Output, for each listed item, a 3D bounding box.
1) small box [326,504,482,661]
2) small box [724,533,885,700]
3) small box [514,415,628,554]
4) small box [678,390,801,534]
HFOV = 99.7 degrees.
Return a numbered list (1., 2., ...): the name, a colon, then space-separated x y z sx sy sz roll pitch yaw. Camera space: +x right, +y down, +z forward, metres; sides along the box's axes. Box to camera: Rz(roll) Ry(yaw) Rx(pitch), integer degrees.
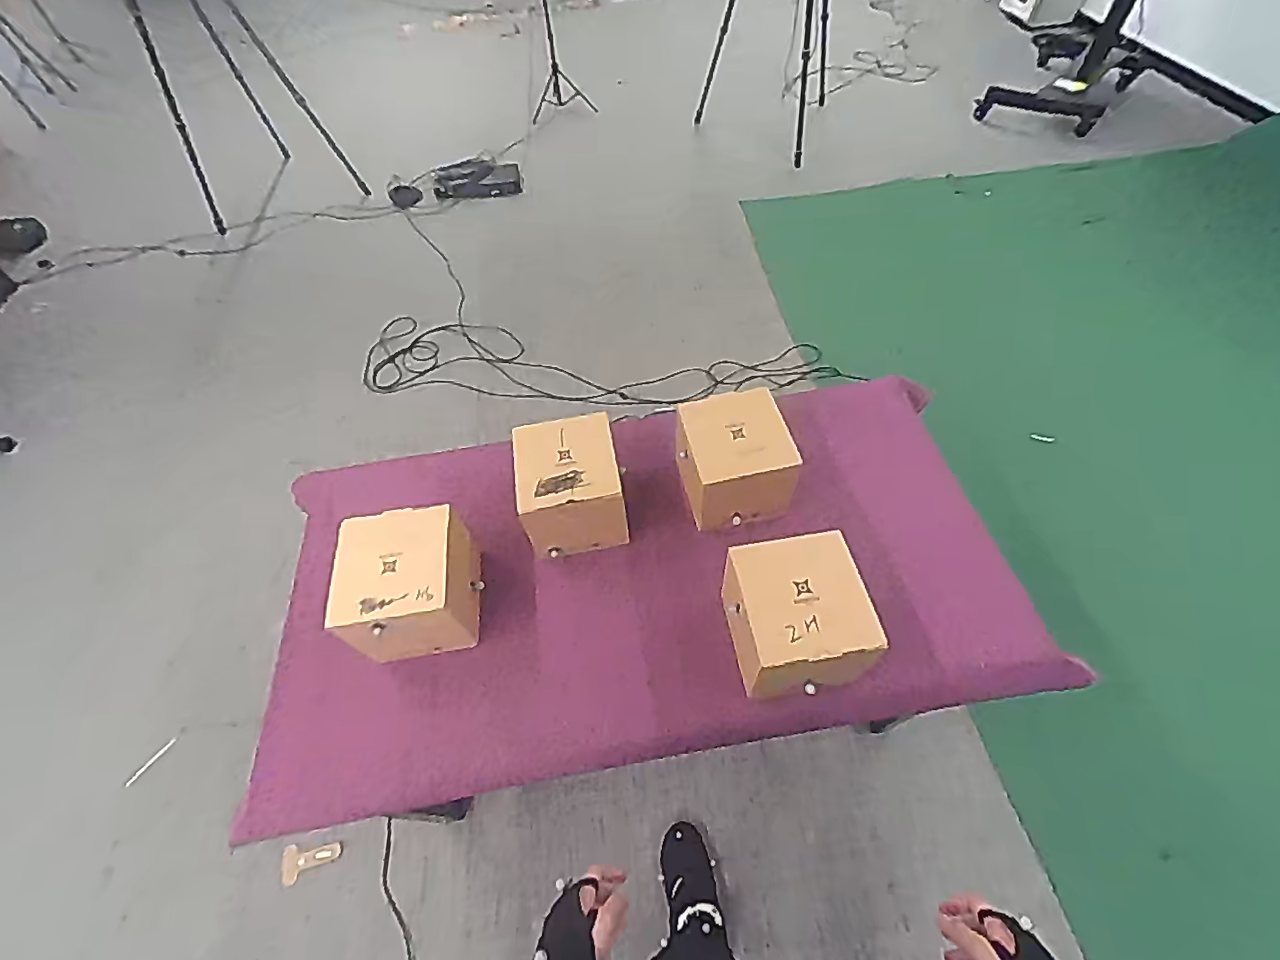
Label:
1. small box: -0.356 0.164 0.853 0.168 0.176 0.179 -9 55 -2
2. small box: 0.223 0.202 0.793 0.168 0.176 0.179 -8 54 -2
3. small box: -0.117 0.016 0.945 0.168 0.176 0.179 -10 55 -4
4. small box: 0.164 -0.029 0.960 0.168 0.176 0.179 -11 56 -3
